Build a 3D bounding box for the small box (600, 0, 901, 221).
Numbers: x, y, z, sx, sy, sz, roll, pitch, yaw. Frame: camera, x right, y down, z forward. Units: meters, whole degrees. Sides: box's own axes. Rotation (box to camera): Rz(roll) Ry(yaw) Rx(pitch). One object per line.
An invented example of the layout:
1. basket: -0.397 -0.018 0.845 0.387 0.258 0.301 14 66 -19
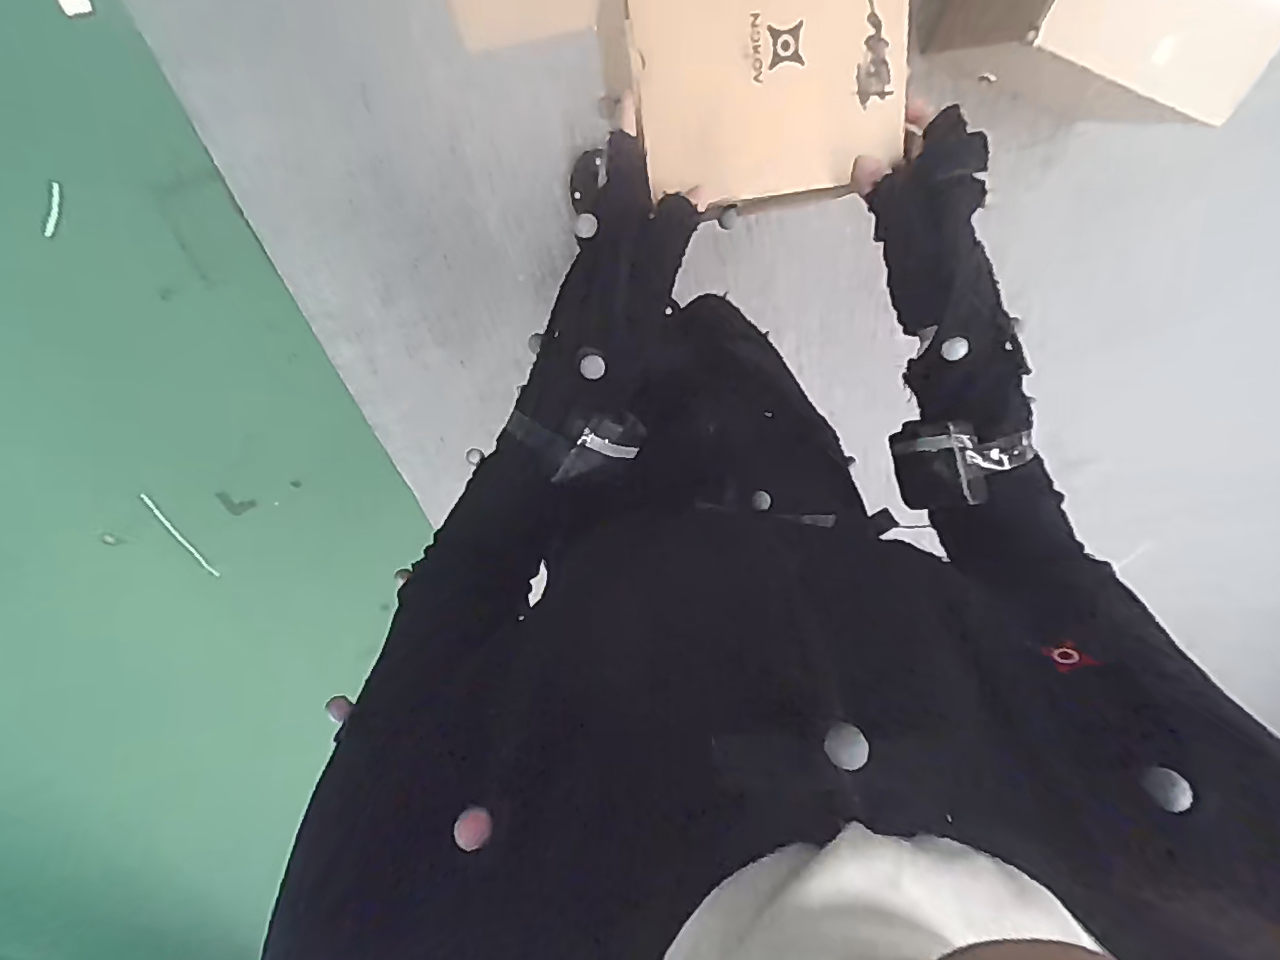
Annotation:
1. small box: 0.067 -0.306 0.407 0.179 0.176 0.168 -12 110 -2
